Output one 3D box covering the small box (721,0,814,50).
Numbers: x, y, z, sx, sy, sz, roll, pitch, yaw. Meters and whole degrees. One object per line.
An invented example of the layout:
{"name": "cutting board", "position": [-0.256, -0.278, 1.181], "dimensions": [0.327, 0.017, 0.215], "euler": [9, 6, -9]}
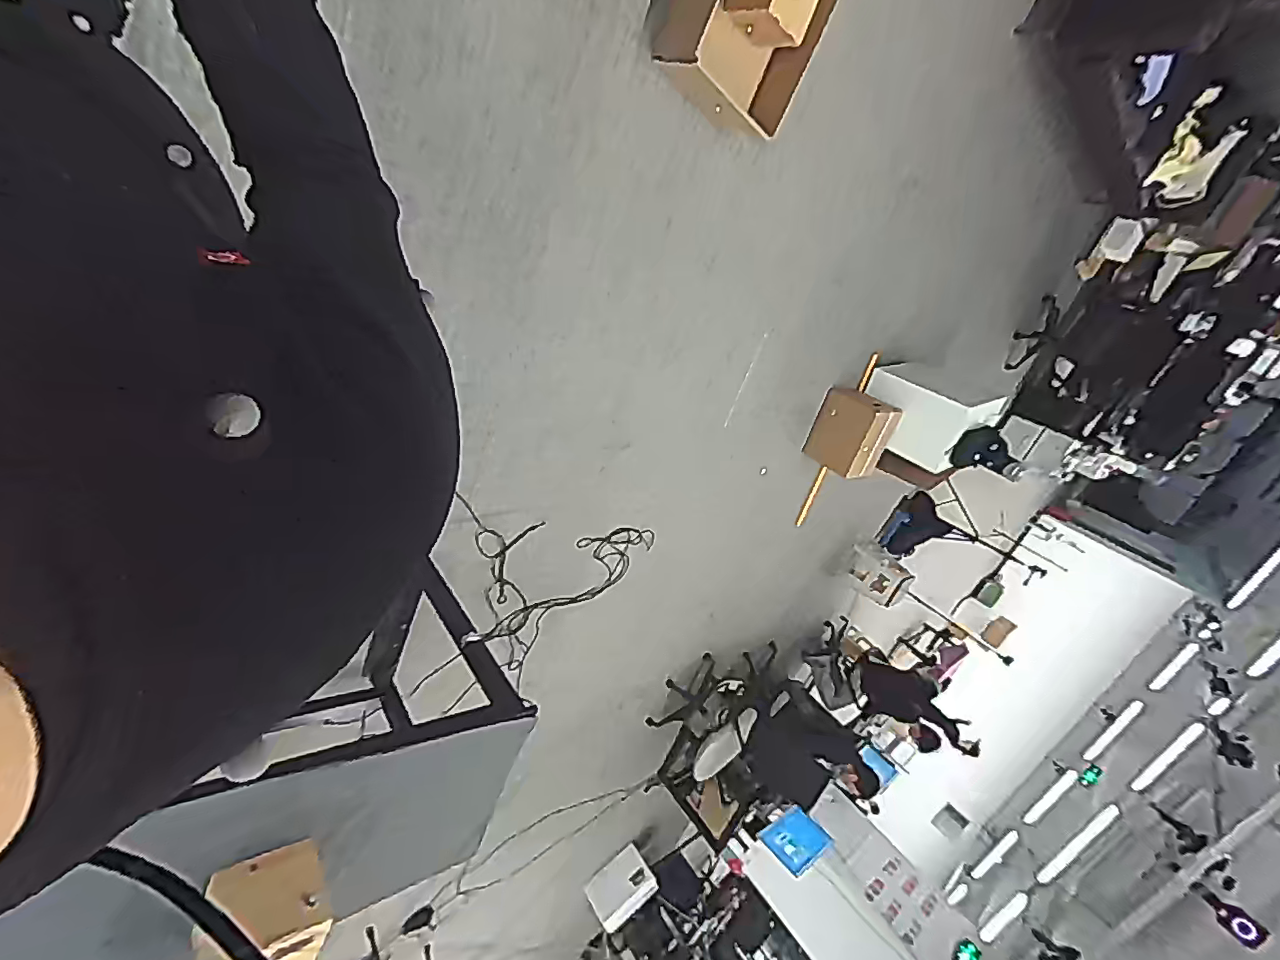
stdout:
{"name": "small box", "position": [0.346, -1.296, 1.446], "dimensions": [0.168, 0.176, 0.179], "euler": [0, 120, -46]}
